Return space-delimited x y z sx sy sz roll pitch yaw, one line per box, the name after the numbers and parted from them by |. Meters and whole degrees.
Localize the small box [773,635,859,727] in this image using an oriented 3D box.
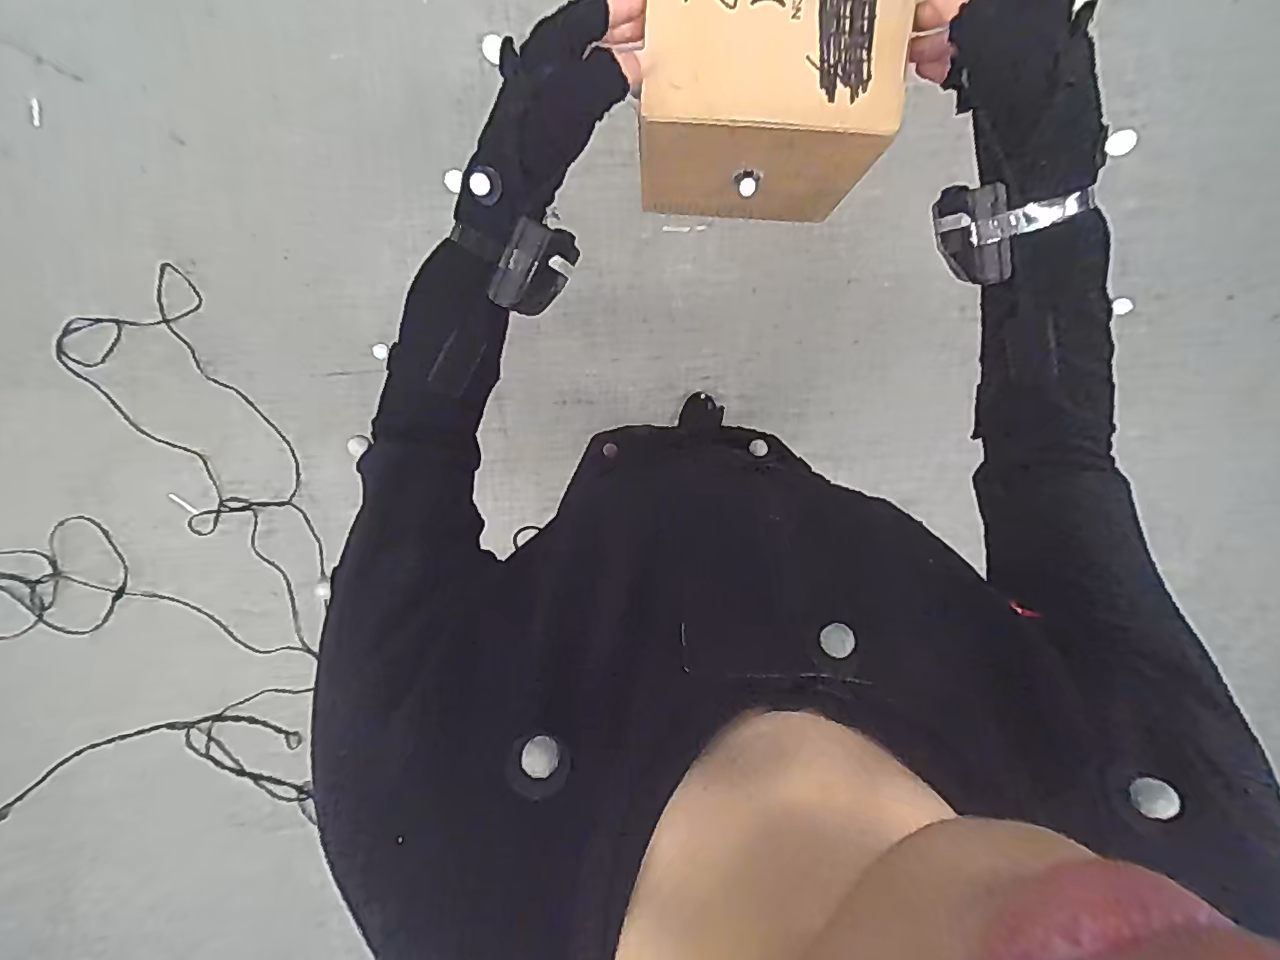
0.450 0.513 1.404 0.168 0.176 0.179 3 93 1 | small box
